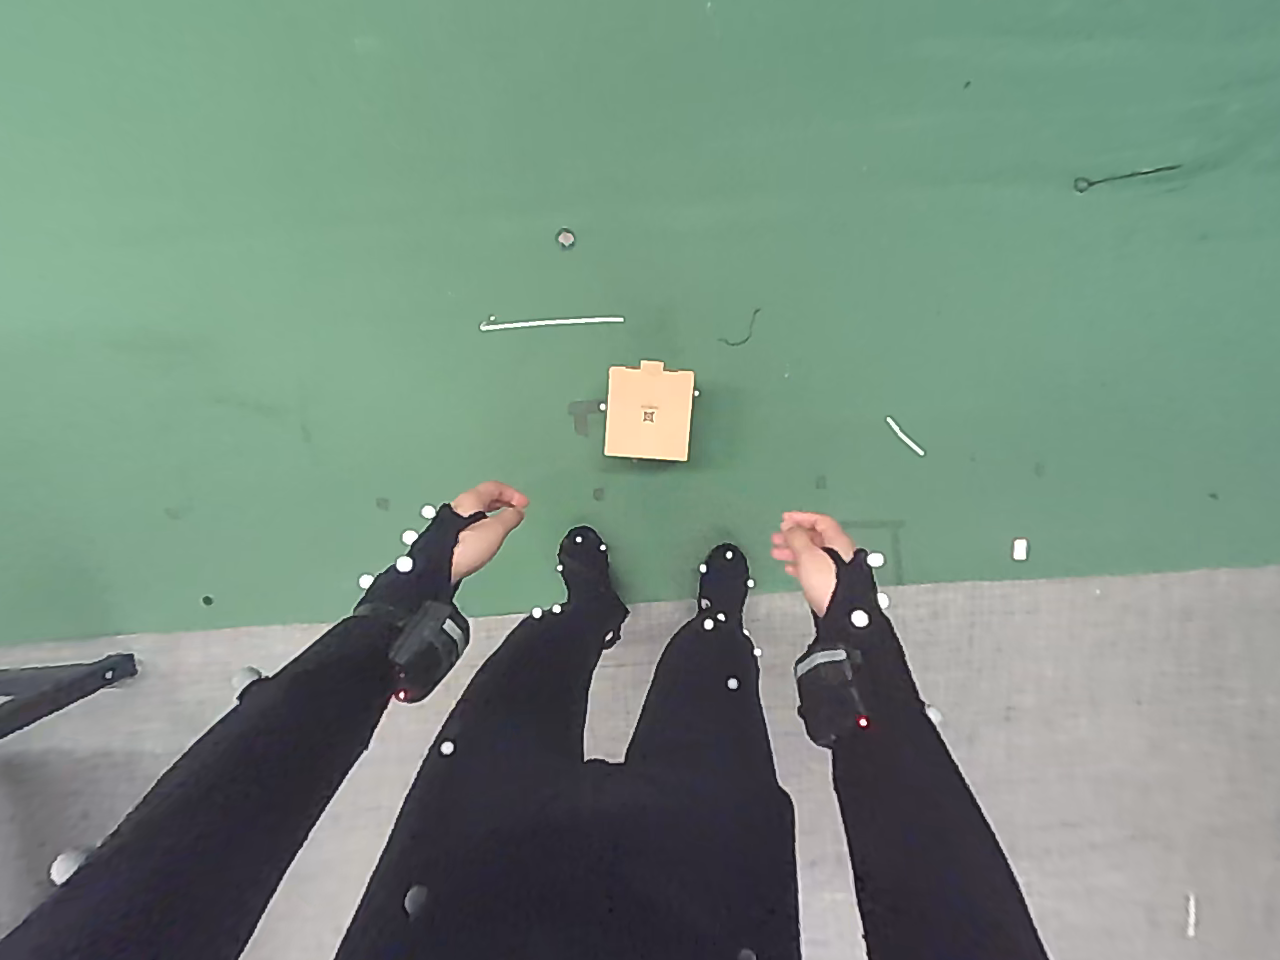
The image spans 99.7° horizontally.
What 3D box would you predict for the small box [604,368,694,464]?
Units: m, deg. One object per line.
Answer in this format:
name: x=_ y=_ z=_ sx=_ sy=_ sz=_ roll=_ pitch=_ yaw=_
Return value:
small box: x=0.019 y=-0.133 z=1.128 sx=0.168 sy=0.176 sz=0.179 roll=4 pitch=96 yaw=0
